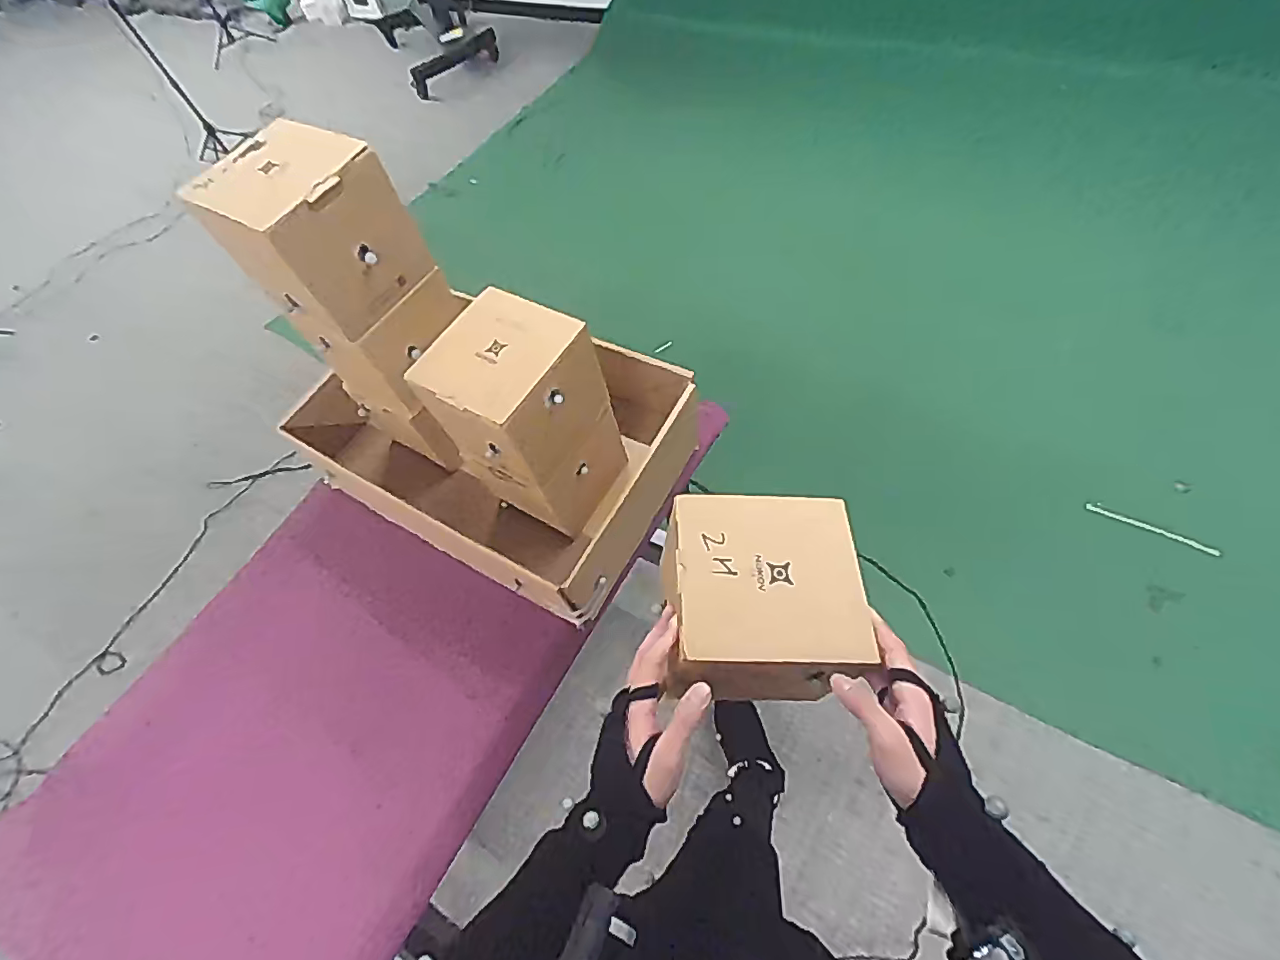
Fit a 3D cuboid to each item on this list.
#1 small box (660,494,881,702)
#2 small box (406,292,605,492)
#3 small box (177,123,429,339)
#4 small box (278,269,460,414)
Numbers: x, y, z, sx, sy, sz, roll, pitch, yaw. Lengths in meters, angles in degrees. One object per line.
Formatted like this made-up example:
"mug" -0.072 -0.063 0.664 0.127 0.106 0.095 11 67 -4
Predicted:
"small box" 0.117 0.130 0.569 0.179 0.176 0.168 2 57 -3
"small box" -0.165 -0.112 0.731 0.168 0.176 0.179 27 68 21
"small box" -0.408 -0.307 0.688 0.179 0.176 0.168 27 67 19
"small box" -0.388 -0.226 0.830 0.179 0.176 0.168 26 67 20
